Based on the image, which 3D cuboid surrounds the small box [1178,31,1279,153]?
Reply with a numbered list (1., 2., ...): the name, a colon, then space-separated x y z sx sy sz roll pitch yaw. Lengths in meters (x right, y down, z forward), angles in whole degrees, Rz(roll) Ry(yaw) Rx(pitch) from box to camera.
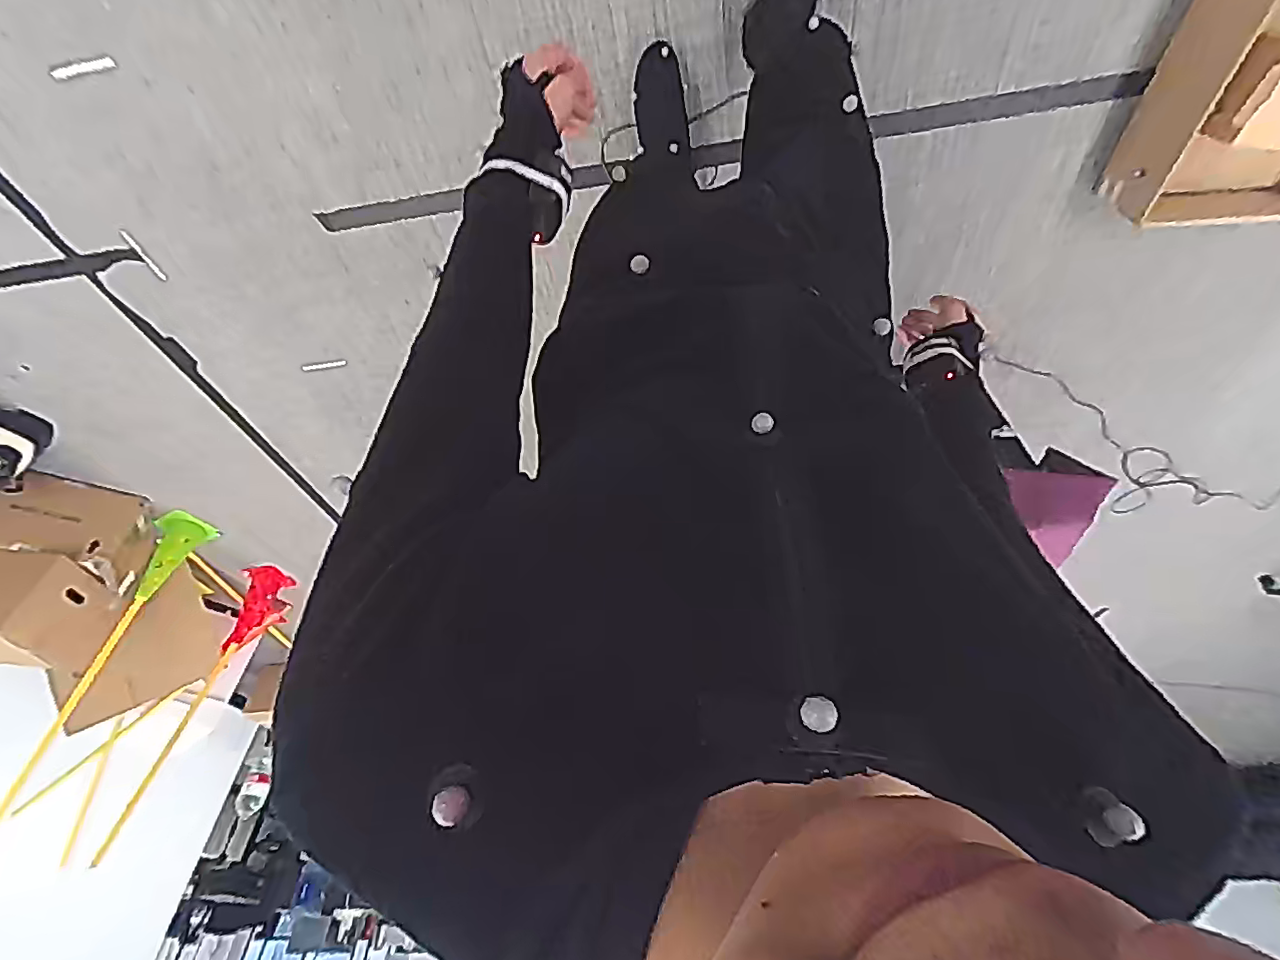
1. small box: 1.262 -0.775 1.082 0.179 0.176 0.168 3 138 -3
